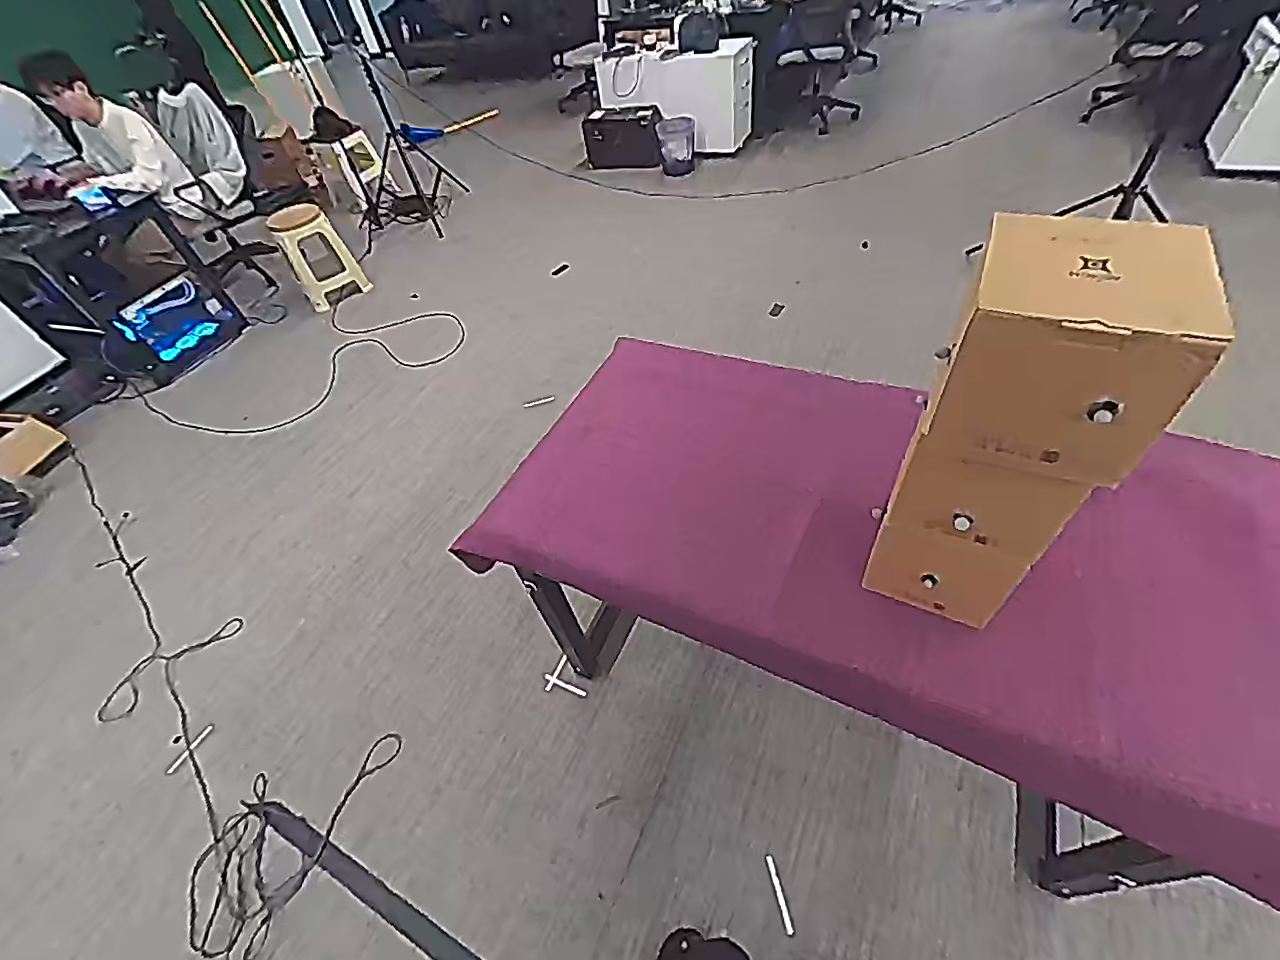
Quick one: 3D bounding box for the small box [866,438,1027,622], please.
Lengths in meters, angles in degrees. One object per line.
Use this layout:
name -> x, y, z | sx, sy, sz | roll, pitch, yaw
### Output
small box -> 0.436, 0.073, 0.771 | 0.168, 0.176, 0.179 | 19, 55, 23

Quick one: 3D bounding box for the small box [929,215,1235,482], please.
small box -> 0.392, -0.125, 0.514 | 0.168, 0.176, 0.179 | 16, 54, 21

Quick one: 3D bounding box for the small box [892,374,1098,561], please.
small box -> 0.420, -0.036, 0.649 | 0.168, 0.176, 0.179 | 19, 55, 24
